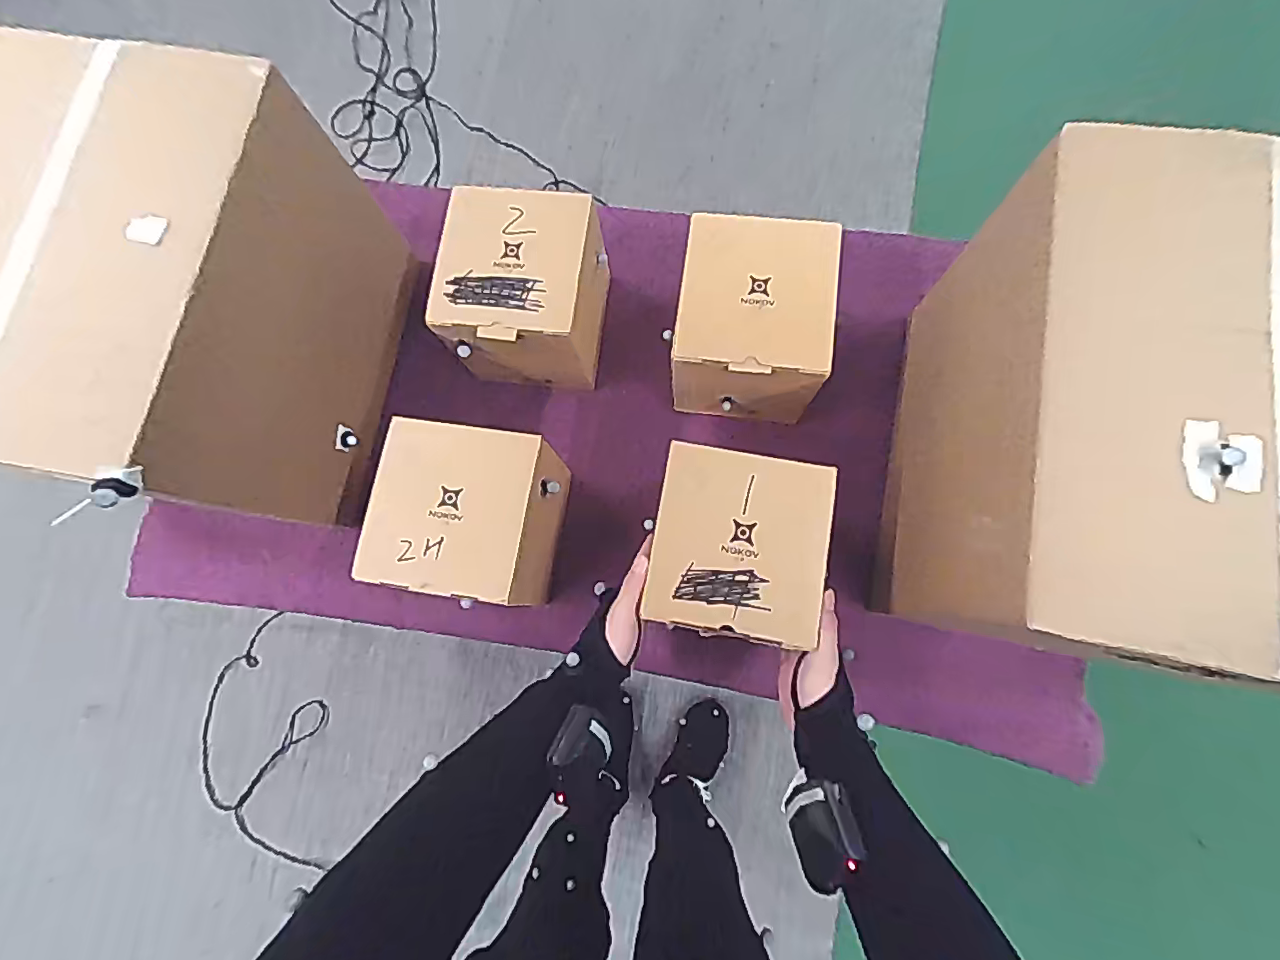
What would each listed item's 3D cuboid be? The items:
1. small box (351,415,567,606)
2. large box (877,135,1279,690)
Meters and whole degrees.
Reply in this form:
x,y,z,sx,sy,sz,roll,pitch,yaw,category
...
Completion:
x,y,z,sx,sy,sz,roll,pitch,yaw,category
-0.187,0.044,0.620,0.168,0.176,0.179,8,78,5,small box
0.458,-0.034,0.531,0.320,0.320,0.408,10,80,7,large box
